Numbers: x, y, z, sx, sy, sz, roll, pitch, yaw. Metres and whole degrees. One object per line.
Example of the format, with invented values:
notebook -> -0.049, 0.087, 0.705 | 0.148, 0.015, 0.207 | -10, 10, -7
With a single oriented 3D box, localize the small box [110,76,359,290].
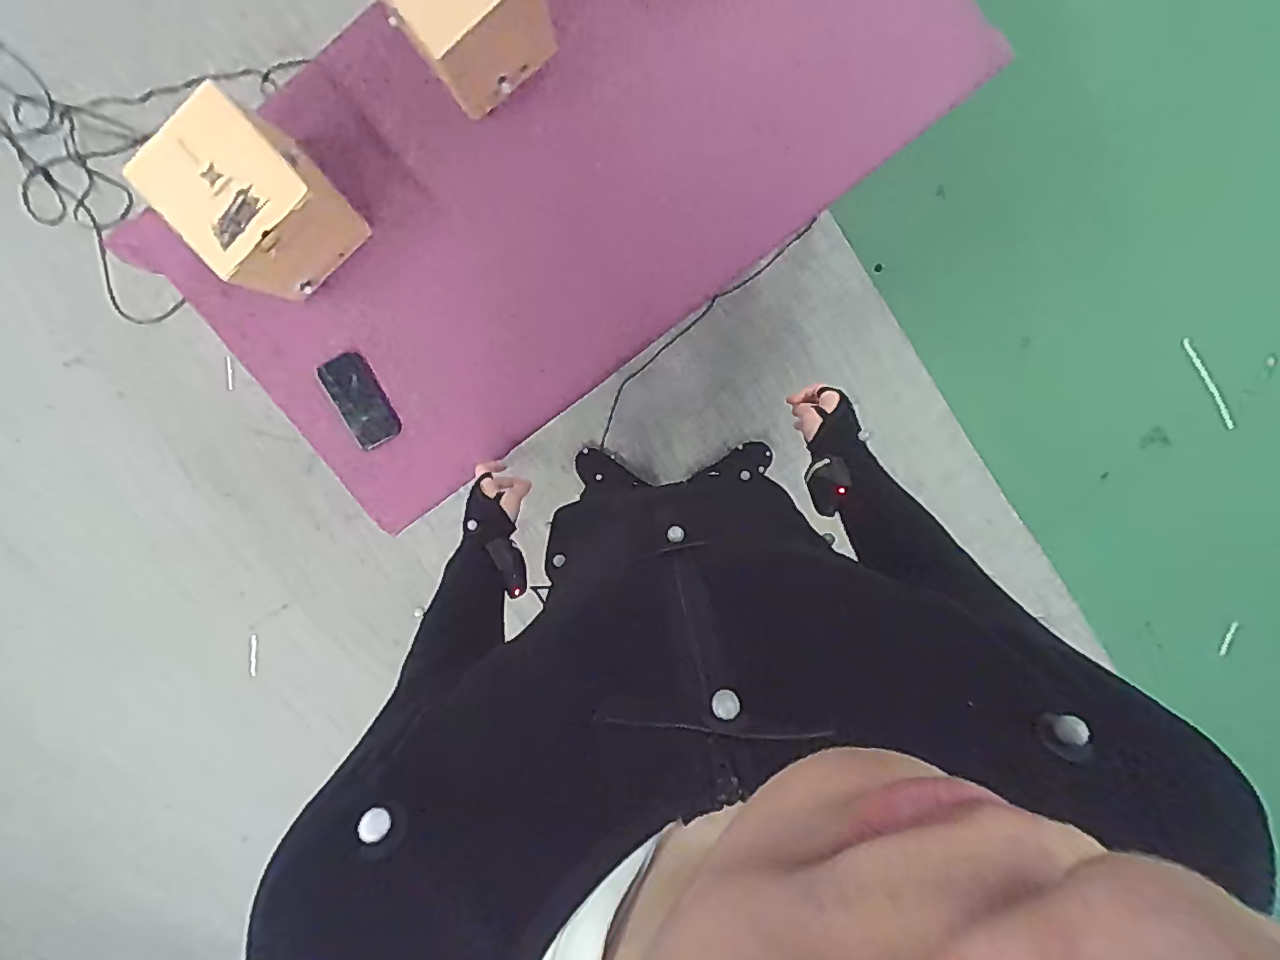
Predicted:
small box -> -0.535, -0.384, 0.745 | 0.168, 0.176, 0.179 | -41, 96, 5

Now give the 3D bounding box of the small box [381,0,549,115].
small box -> -0.243, -0.639, 0.711 | 0.168, 0.176, 0.179 | -37, 98, 6
